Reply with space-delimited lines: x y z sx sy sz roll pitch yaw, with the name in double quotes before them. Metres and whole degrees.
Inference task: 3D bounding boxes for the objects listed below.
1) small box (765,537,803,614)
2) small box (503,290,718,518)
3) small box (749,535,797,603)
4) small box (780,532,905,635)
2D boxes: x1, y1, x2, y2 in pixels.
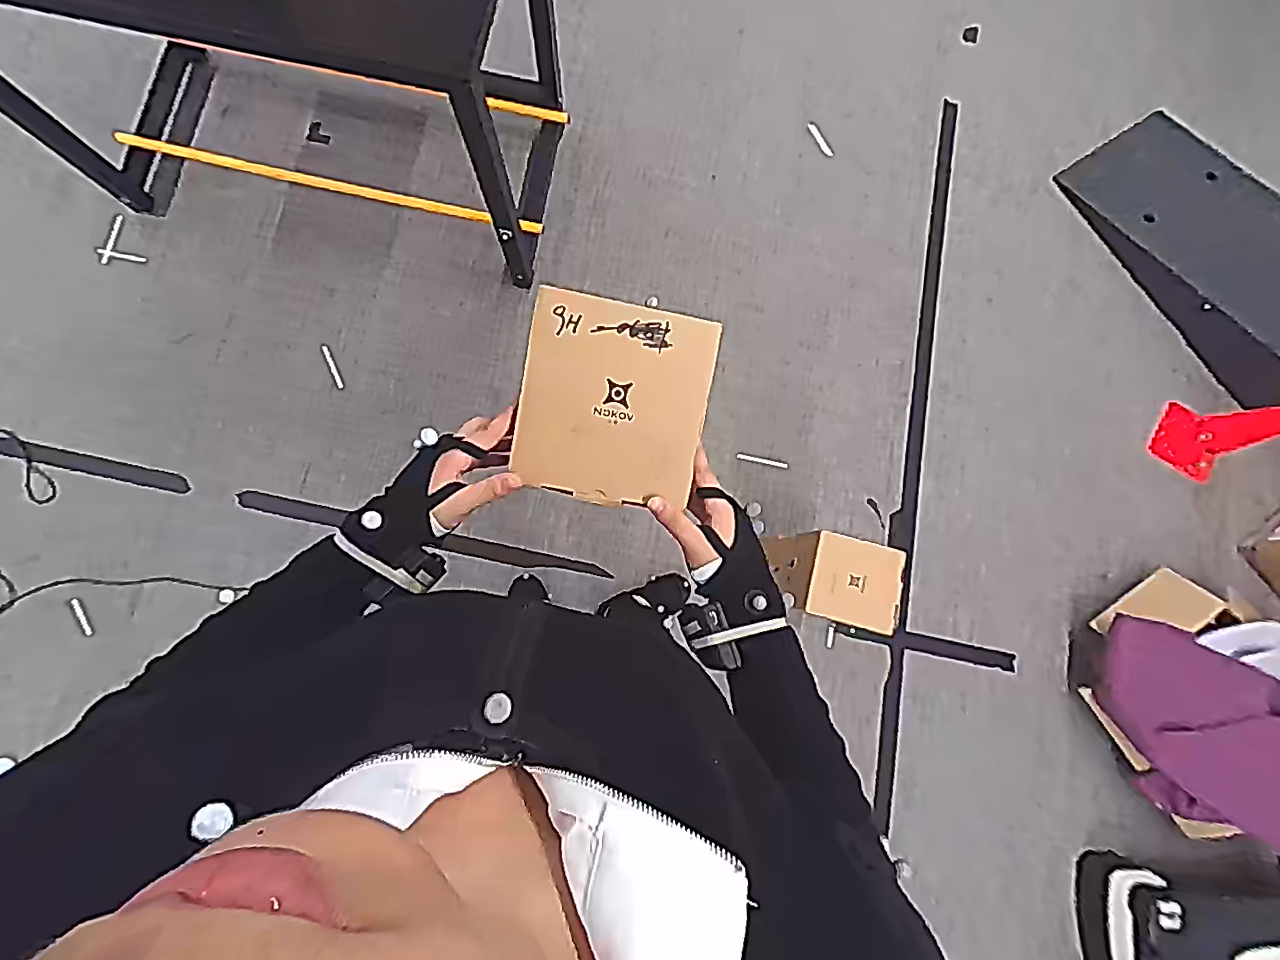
"small box" 0.417 0.238 1.286 0.179 0.176 0.168 15 81 0
"small box" -0.033 -0.074 0.556 0.168 0.176 0.179 10 97 -7
"small box" 0.405 0.255 1.449 0.168 0.176 0.179 15 81 -1
"small box" 0.412 0.212 1.125 0.179 0.176 0.168 15 80 0
